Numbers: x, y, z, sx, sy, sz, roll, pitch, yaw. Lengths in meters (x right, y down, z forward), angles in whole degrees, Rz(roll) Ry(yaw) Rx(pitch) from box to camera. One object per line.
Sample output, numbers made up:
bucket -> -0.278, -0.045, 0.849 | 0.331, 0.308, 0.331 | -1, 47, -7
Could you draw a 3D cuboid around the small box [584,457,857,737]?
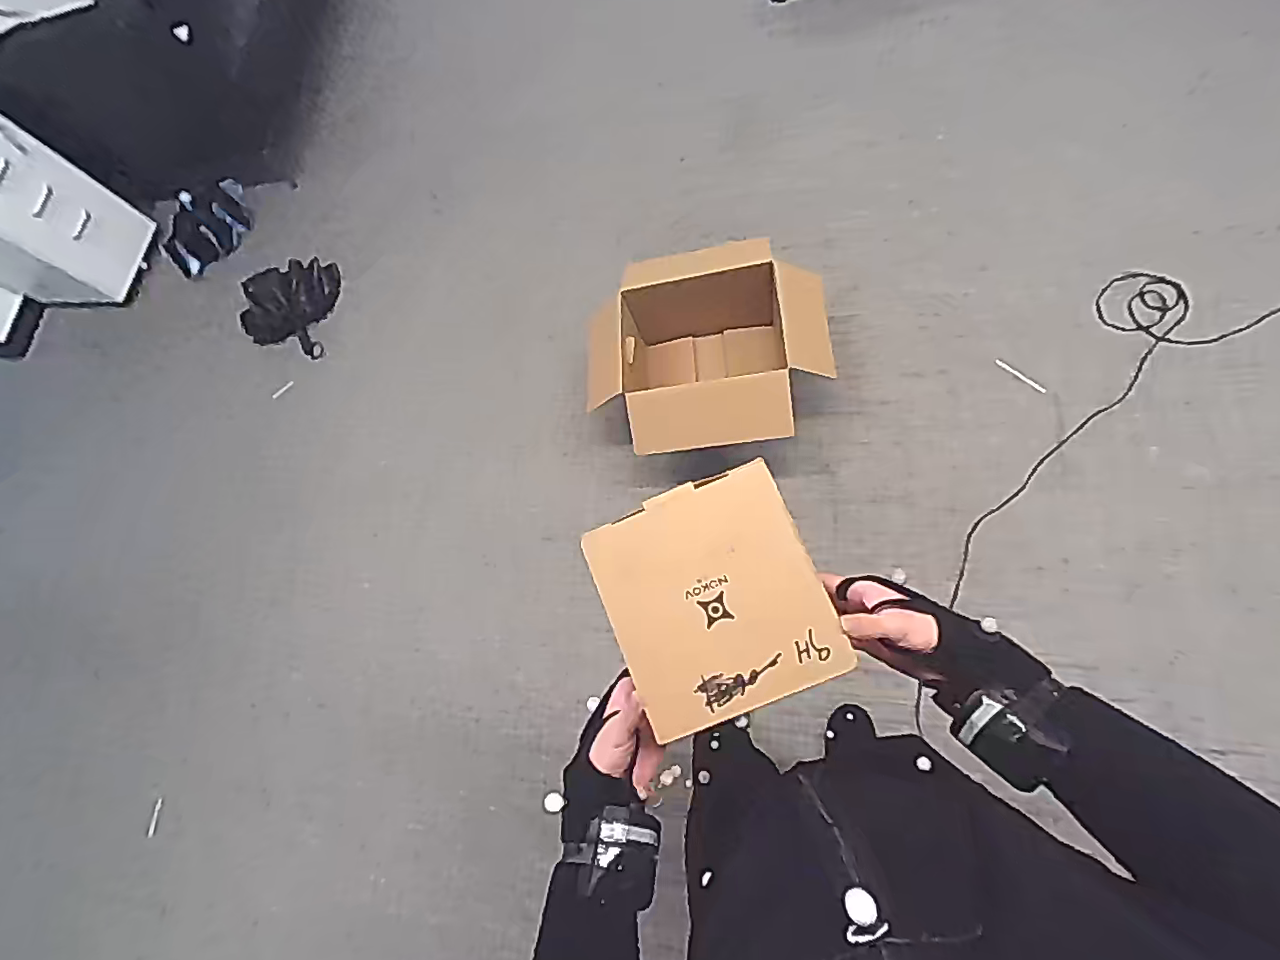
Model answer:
small box -> 0.068, 0.102, 0.501 | 0.168, 0.176, 0.179 | -23, 78, 5
